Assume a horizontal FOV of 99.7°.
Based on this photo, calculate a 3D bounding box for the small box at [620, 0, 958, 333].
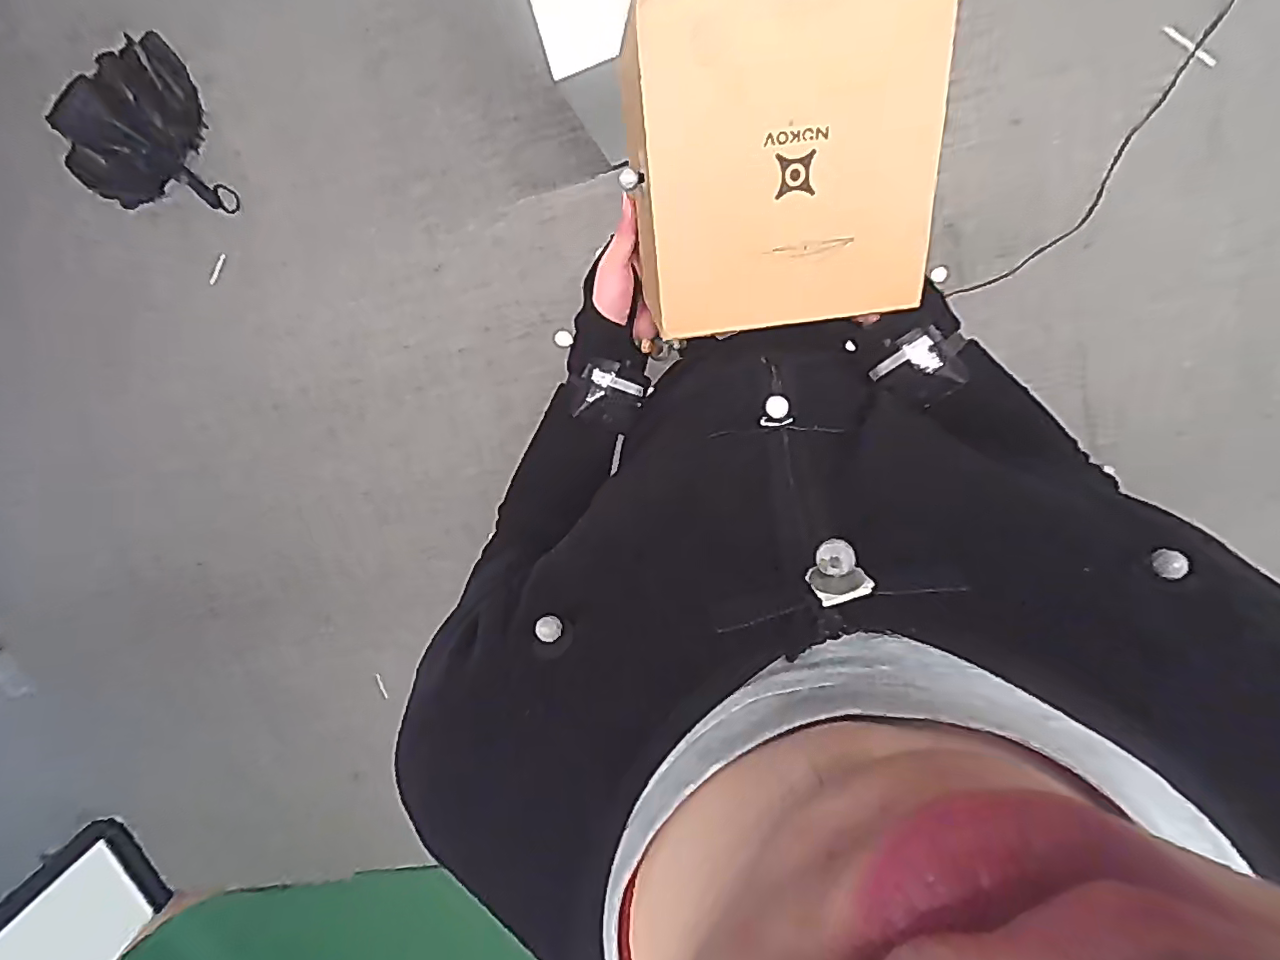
[{"bbox_3d":[0.080,-0.214,0.371,0.168,0.176,0.179,-8,118,-1],"label":"small box"}]
